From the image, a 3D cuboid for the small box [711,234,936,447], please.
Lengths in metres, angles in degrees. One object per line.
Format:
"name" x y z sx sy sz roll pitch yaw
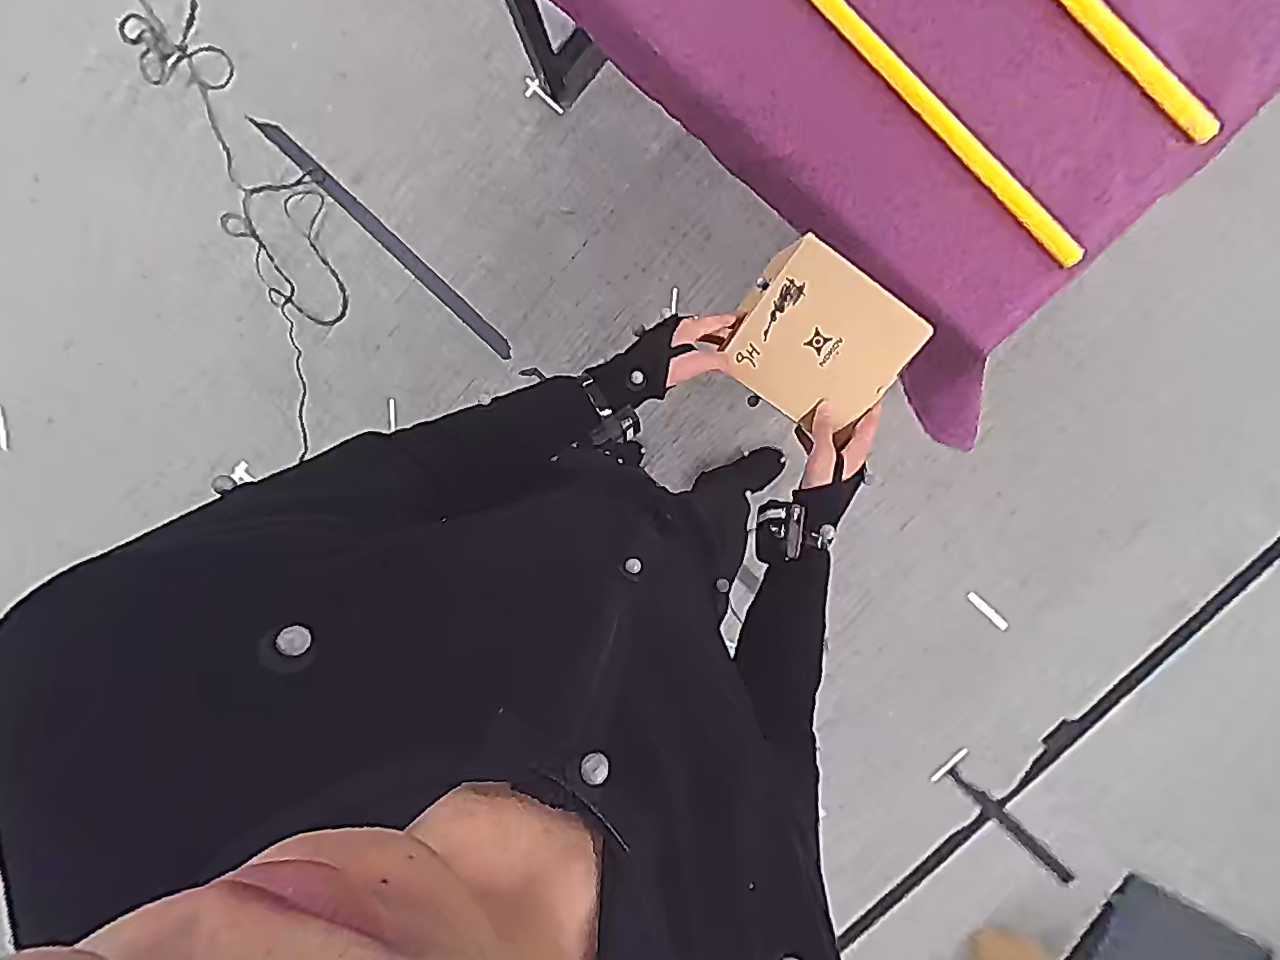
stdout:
"small box" 0.206 -0.170 0.664 0.179 0.176 0.168 34 105 -8
